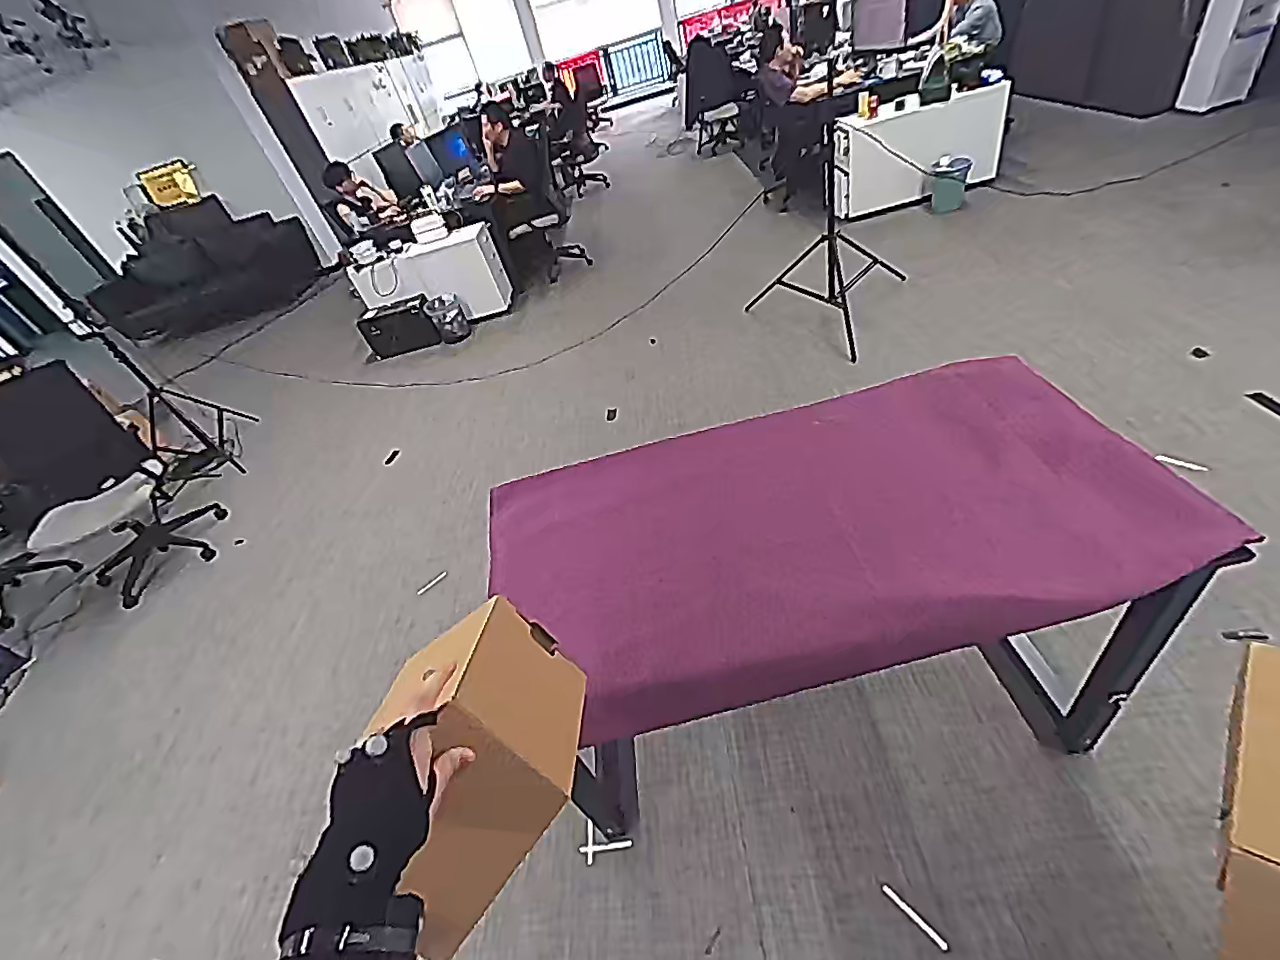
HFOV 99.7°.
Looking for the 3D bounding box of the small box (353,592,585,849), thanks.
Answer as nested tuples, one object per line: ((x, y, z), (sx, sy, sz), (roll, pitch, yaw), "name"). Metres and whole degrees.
((-0.187, 0.270, 0.617), (0.176, 0.168, 0.179), (-36, 16, 13), "small box")
